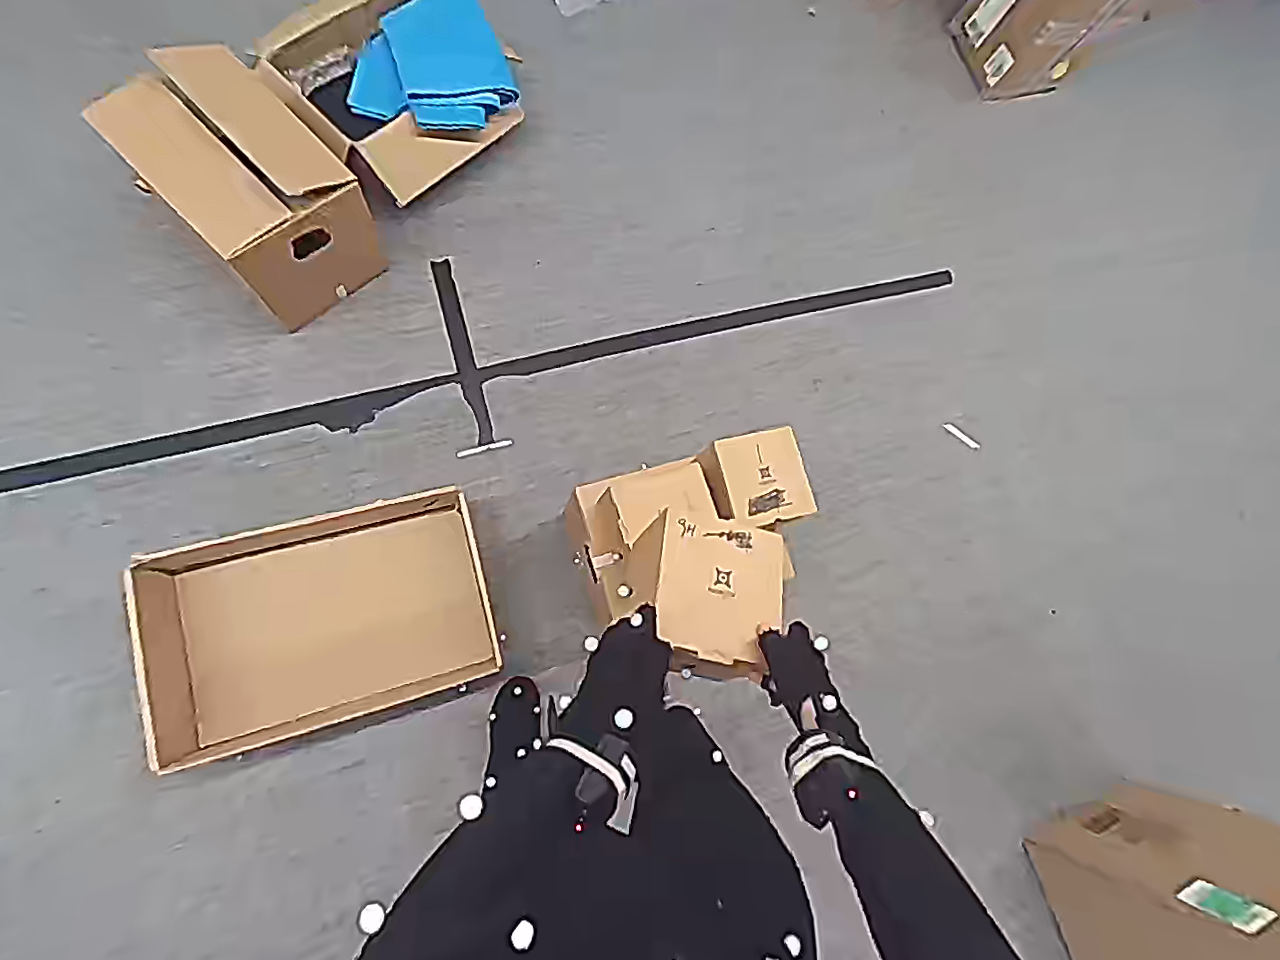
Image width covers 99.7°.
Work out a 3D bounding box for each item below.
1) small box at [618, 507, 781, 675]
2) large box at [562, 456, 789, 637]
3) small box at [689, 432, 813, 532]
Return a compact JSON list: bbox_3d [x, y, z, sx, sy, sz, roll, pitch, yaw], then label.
[{"bbox_3d":[0.074,0.161,0.735,0.168,0.176,0.179,15,64,-12],"label":"small box"},{"bbox_3d":[0.061,0.151,1.271,0.408,0.320,0.320,-16,82,-16],"label":"large box"},{"bbox_3d":[0.212,0.021,1.078,0.168,0.176,0.179,-11,78,-14],"label":"small box"}]
